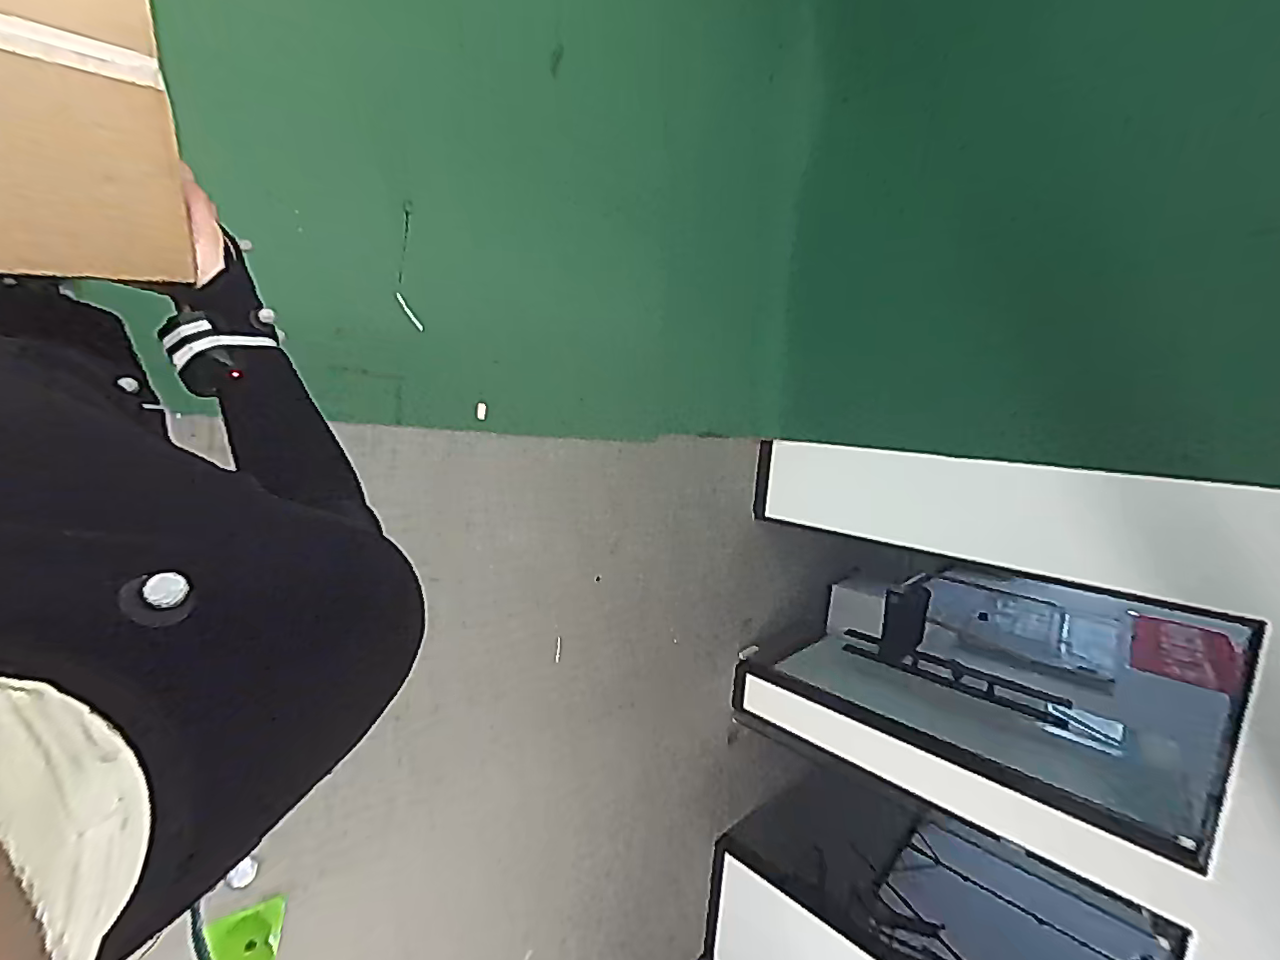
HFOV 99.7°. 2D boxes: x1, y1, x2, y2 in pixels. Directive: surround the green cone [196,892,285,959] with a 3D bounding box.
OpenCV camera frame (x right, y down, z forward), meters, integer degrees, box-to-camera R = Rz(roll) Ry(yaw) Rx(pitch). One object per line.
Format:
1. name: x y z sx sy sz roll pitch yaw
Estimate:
1. green cone: -0.998 1.316 1.407 0.200 0.368 0.202 7 92 -48
